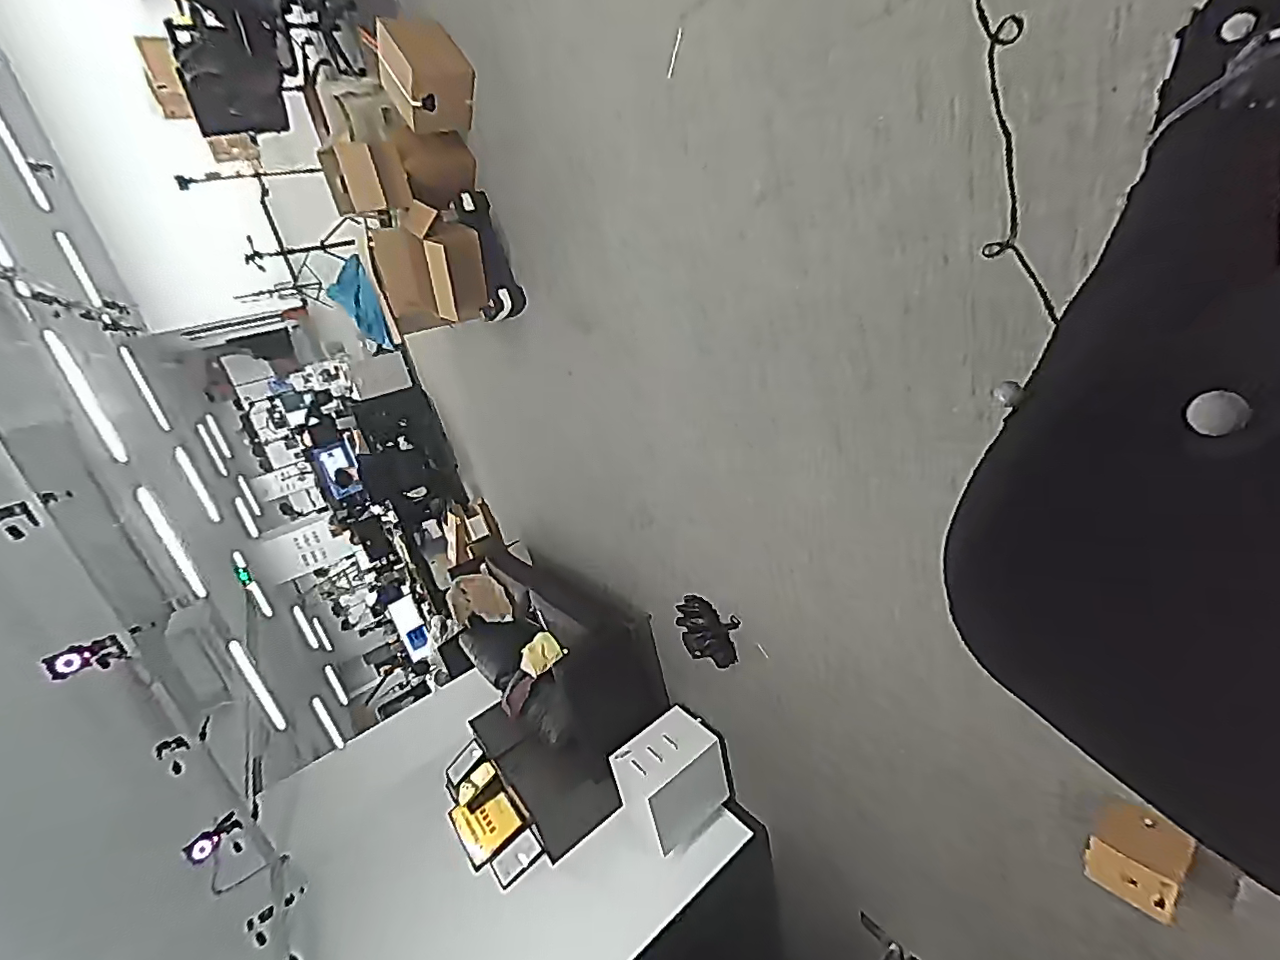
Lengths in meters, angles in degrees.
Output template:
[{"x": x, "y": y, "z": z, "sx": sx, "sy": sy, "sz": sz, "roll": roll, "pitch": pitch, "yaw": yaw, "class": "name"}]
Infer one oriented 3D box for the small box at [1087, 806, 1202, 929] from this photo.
[{"x": 1.329, "y": 1.007, "z": 1.428, "sx": 0.179, "sy": 0.176, "sz": 0.168, "roll": 19, "pitch": 127, "yaw": 52, "class": "small box"}]
